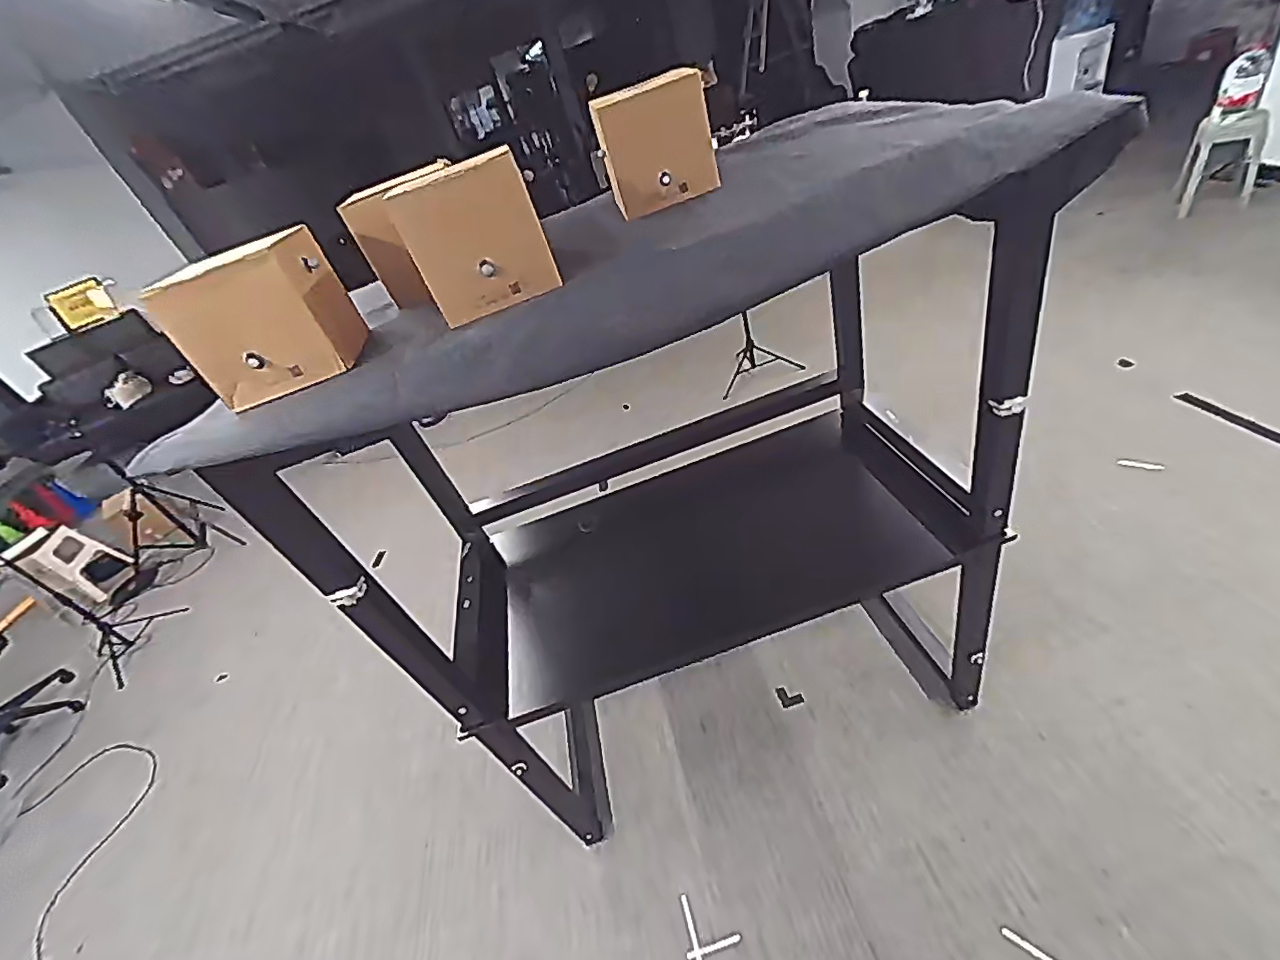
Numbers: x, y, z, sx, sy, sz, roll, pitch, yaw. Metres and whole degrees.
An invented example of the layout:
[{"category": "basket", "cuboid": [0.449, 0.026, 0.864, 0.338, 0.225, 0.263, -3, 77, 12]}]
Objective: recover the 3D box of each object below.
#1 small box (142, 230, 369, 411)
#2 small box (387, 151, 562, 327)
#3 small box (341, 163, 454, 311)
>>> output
[{"category": "small box", "cuboid": [-0.504, -0.221, 0.746, 0.168, 0.176, 0.179, -22, 36, -2]}, {"category": "small box", "cuboid": [-0.220, -0.337, 0.757, 0.168, 0.176, 0.179, -21, 36, -1]}, {"category": "small box", "cuboid": [-0.370, -0.418, 0.930, 0.179, 0.176, 0.168, -22, 37, -2]}]
